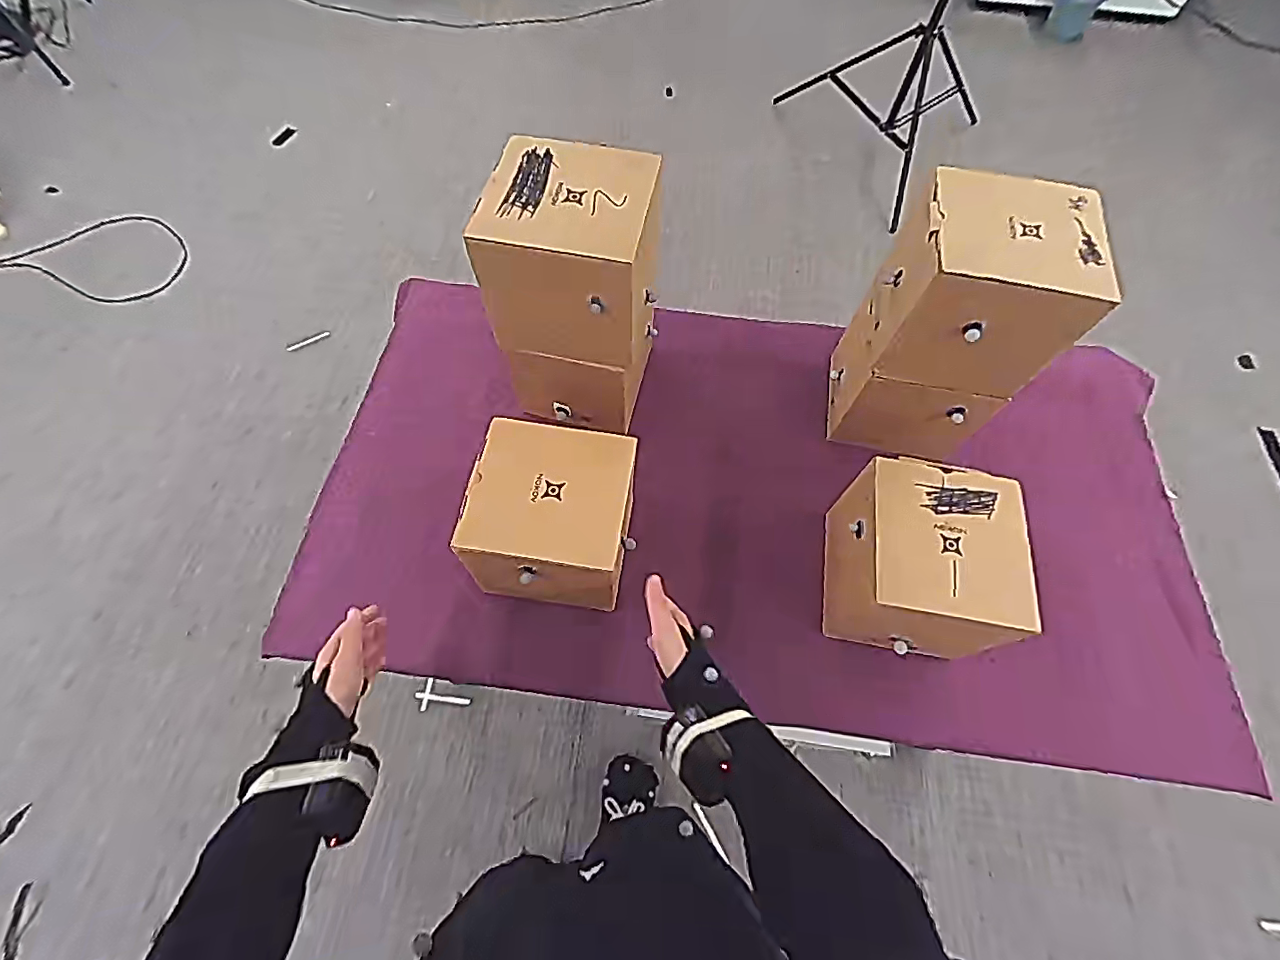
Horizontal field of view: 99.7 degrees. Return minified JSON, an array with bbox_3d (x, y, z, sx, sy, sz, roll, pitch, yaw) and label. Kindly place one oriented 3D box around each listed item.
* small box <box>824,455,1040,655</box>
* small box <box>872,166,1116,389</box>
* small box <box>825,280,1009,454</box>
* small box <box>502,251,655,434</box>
[{"bbox_3d":[0.330,0.097,0.651,0.168,0.176,0.179,9,63,4],"label":"small box"},{"bbox_3d":[0.387,-0.226,0.629,0.179,0.176,0.168,11,65,5],"label":"small box"},{"bbox_3d":[0.384,-0.153,0.776,0.179,0.176,0.168,10,64,4],"label":"small box"},{"bbox_3d":[-0.079,-0.193,0.784,0.168,0.176,0.179,12,66,5],"label":"small box"}]
